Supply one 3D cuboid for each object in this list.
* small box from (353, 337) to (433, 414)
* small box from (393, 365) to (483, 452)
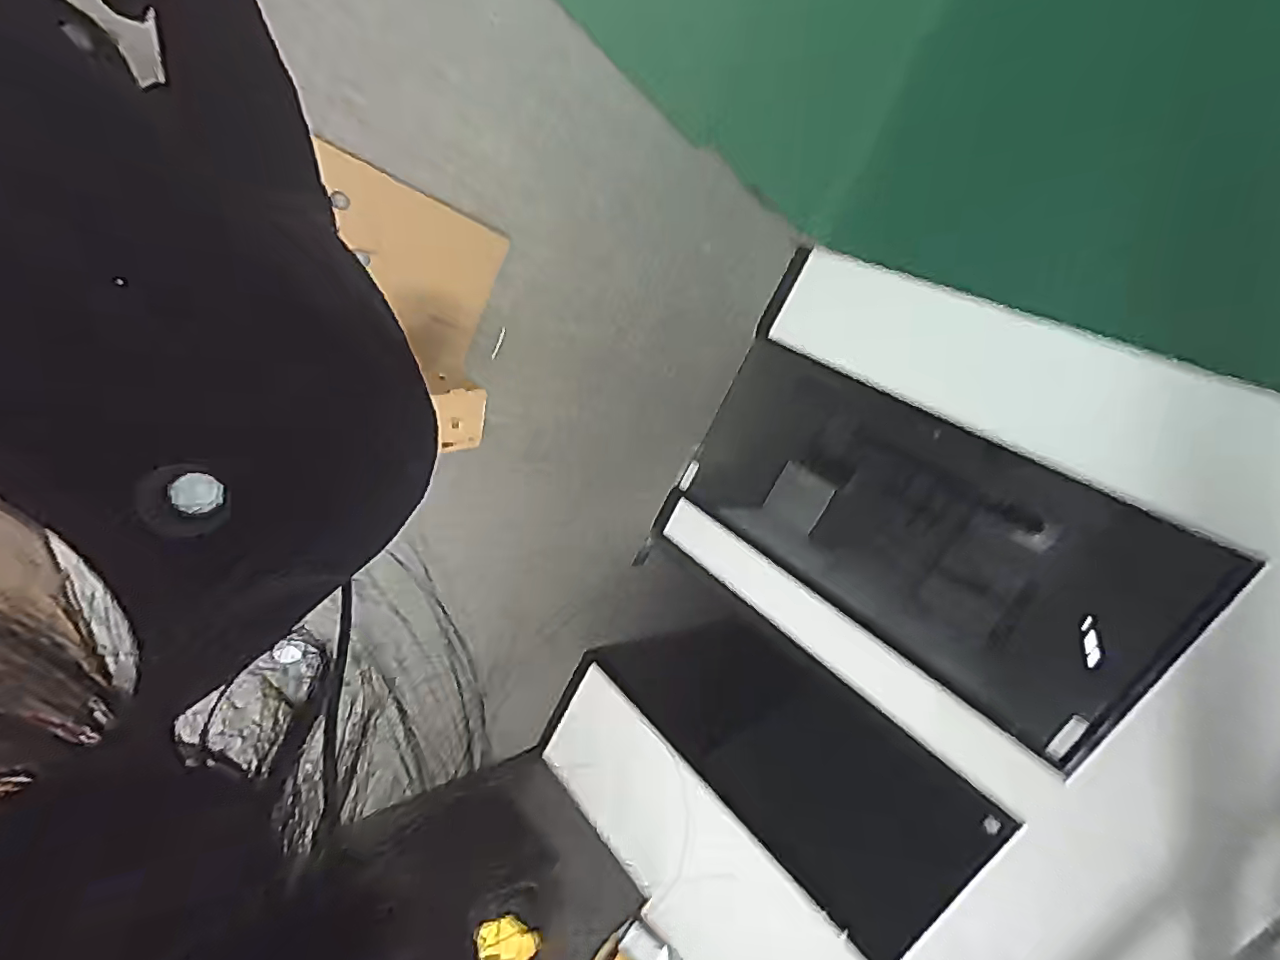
[{"bbox_3d":[-0.664,-0.276,1.530,0.168,0.176,0.179,-52,148,-1],"label":"small box"},{"bbox_3d":[-0.545,-0.200,1.448,0.168,0.176,0.179,-16,132,-45],"label":"small box"}]
